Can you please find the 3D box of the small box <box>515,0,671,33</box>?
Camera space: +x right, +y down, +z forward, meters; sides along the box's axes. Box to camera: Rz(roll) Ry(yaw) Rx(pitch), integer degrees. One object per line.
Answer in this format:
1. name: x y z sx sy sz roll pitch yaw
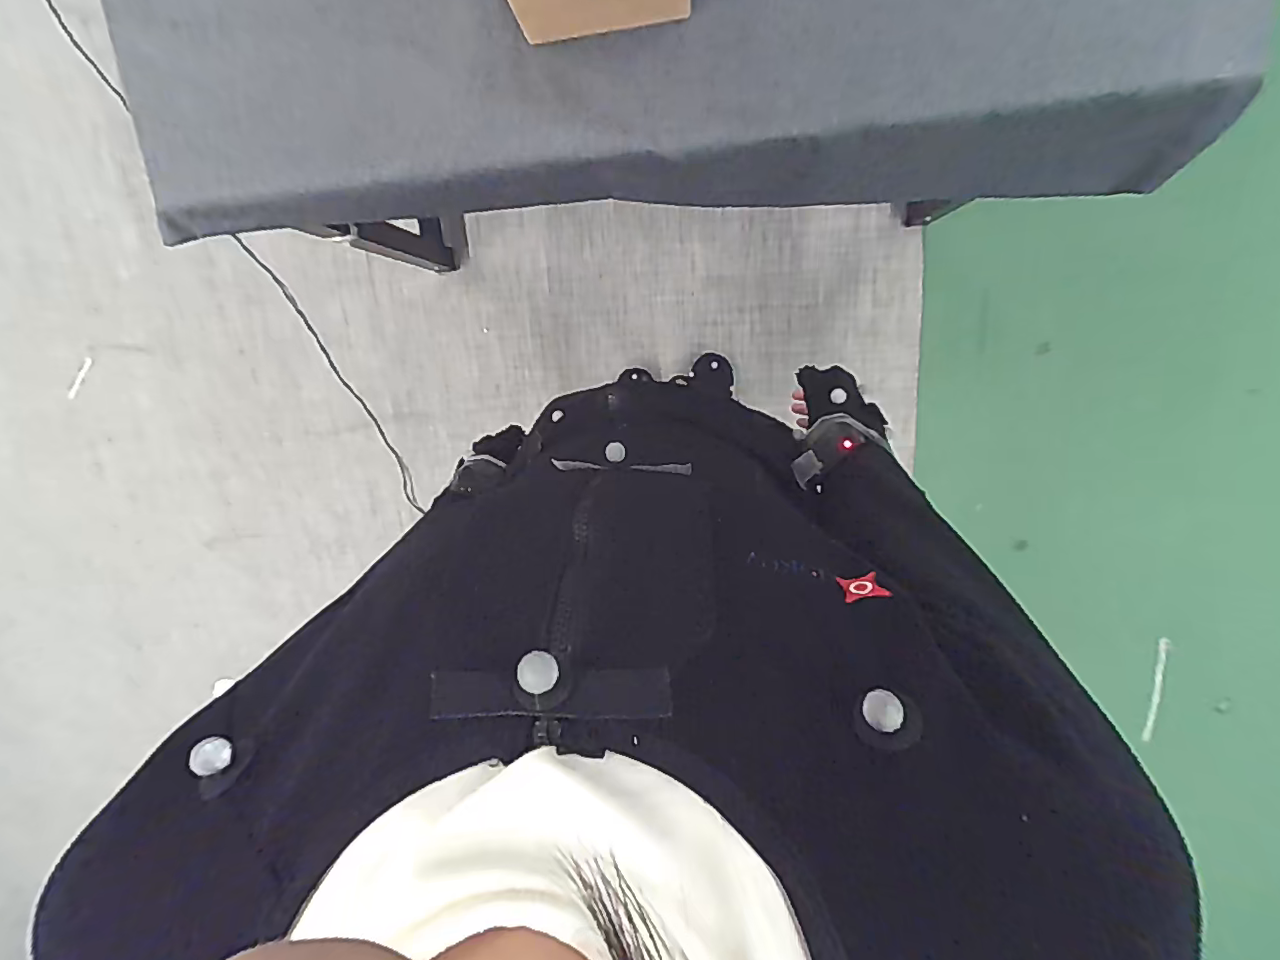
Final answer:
1. small box: -0.047 -0.538 0.468 0.179 0.176 0.168 -8 104 5
